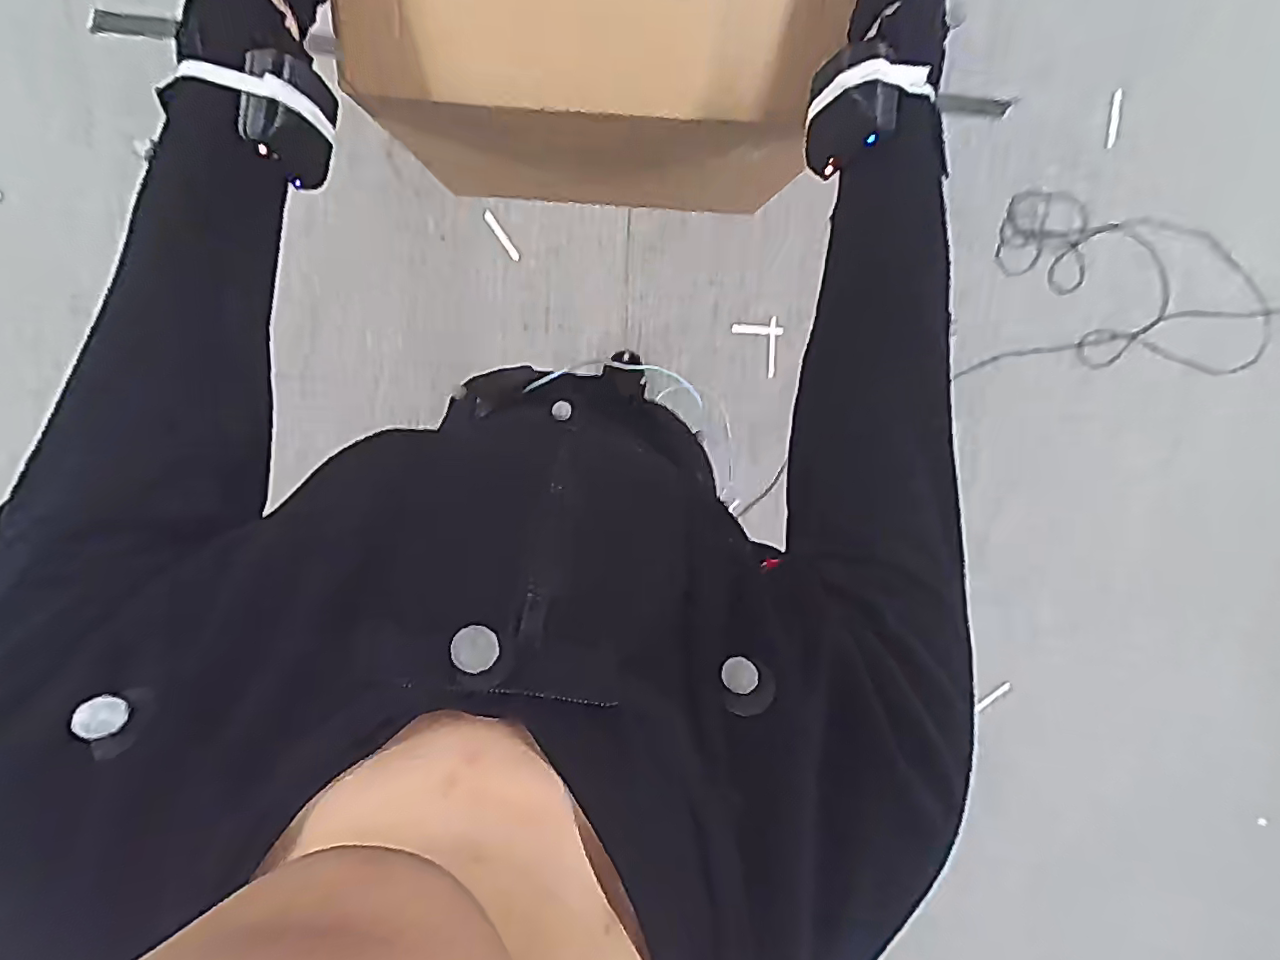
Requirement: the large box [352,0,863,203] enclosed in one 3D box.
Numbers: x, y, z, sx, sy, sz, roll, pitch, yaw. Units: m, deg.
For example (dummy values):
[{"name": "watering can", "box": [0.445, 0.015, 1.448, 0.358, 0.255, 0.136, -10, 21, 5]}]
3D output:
[{"name": "large box", "box": [-0.029, -0.488, 0.542, 0.408, 0.320, 0.320, 1, 105, -4]}]
